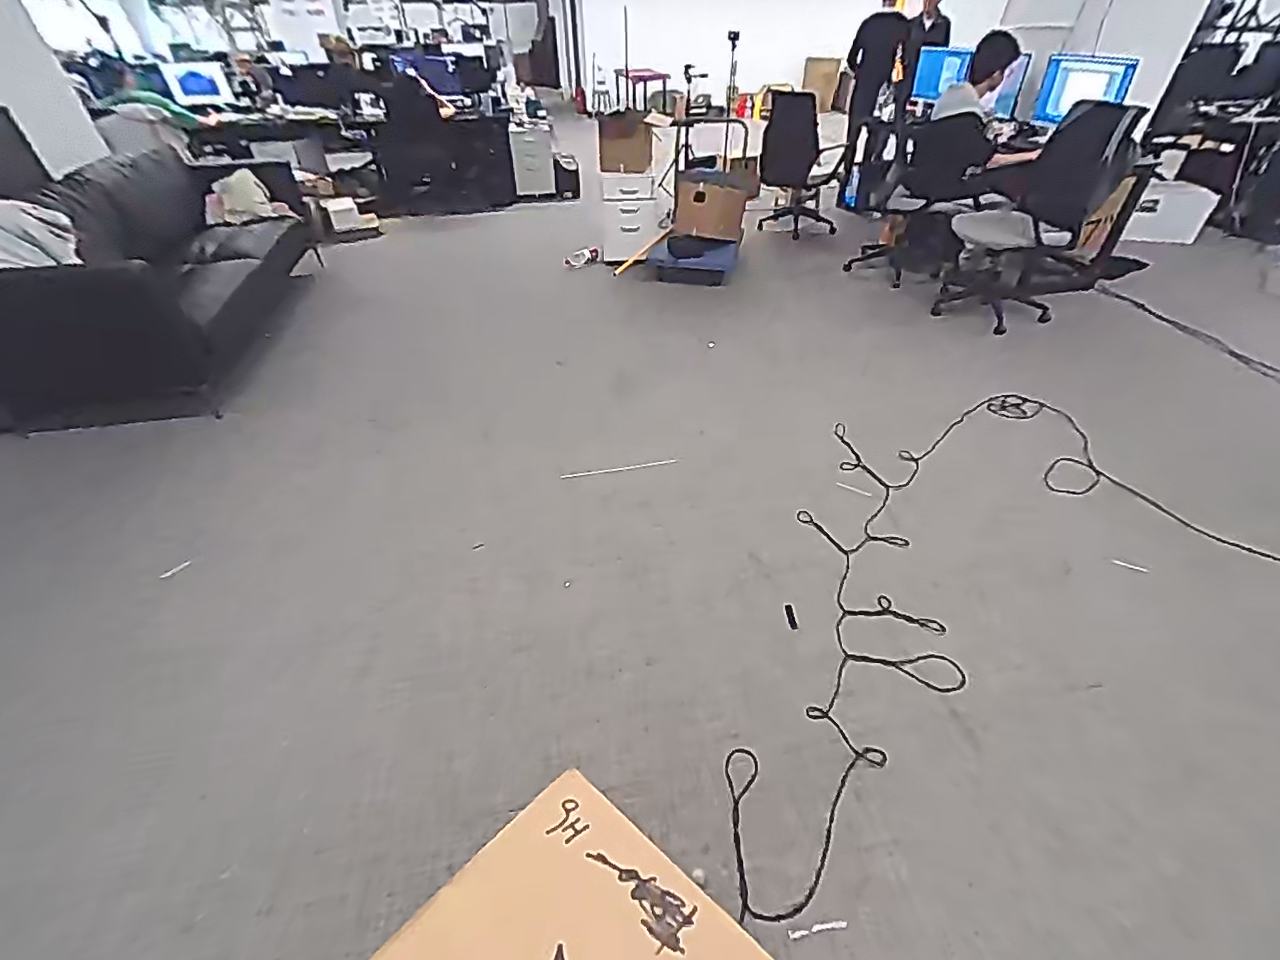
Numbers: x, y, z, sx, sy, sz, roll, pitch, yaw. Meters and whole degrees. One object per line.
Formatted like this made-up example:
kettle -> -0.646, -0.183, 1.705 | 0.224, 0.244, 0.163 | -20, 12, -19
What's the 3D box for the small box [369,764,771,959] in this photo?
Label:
small box -> -0.035, 0.323, 0.312 | 0.168, 0.176, 0.179 | 20, 41, 41
